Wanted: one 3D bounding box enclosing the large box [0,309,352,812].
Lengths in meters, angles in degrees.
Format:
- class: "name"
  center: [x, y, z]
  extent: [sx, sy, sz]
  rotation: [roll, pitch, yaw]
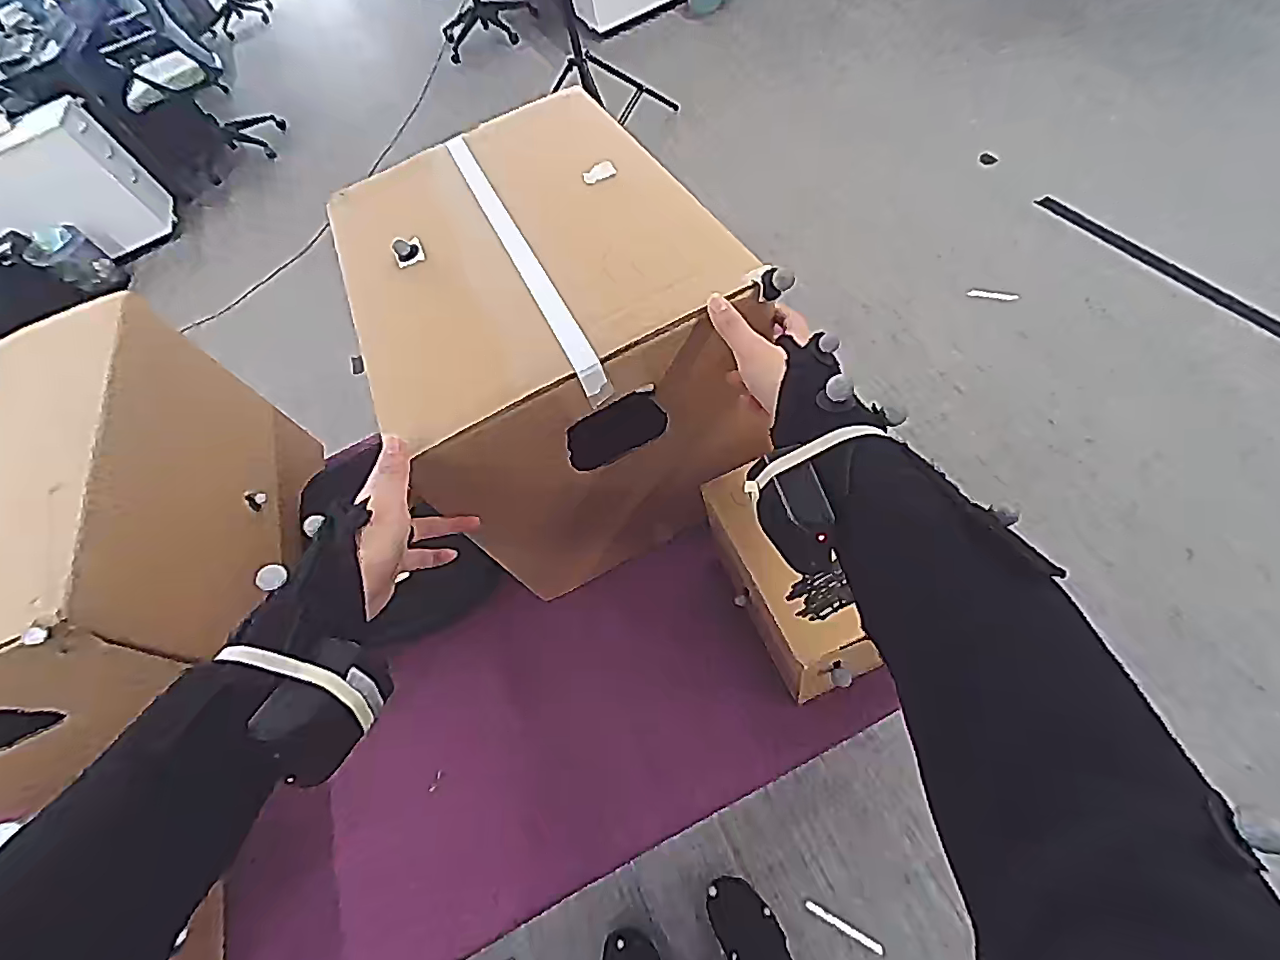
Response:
- class: "large box"
  center: [-0.583, 0.096, 0.612]
  extent: [0.320, 0.320, 0.408]
  rotation: [-26, 60, -2]
